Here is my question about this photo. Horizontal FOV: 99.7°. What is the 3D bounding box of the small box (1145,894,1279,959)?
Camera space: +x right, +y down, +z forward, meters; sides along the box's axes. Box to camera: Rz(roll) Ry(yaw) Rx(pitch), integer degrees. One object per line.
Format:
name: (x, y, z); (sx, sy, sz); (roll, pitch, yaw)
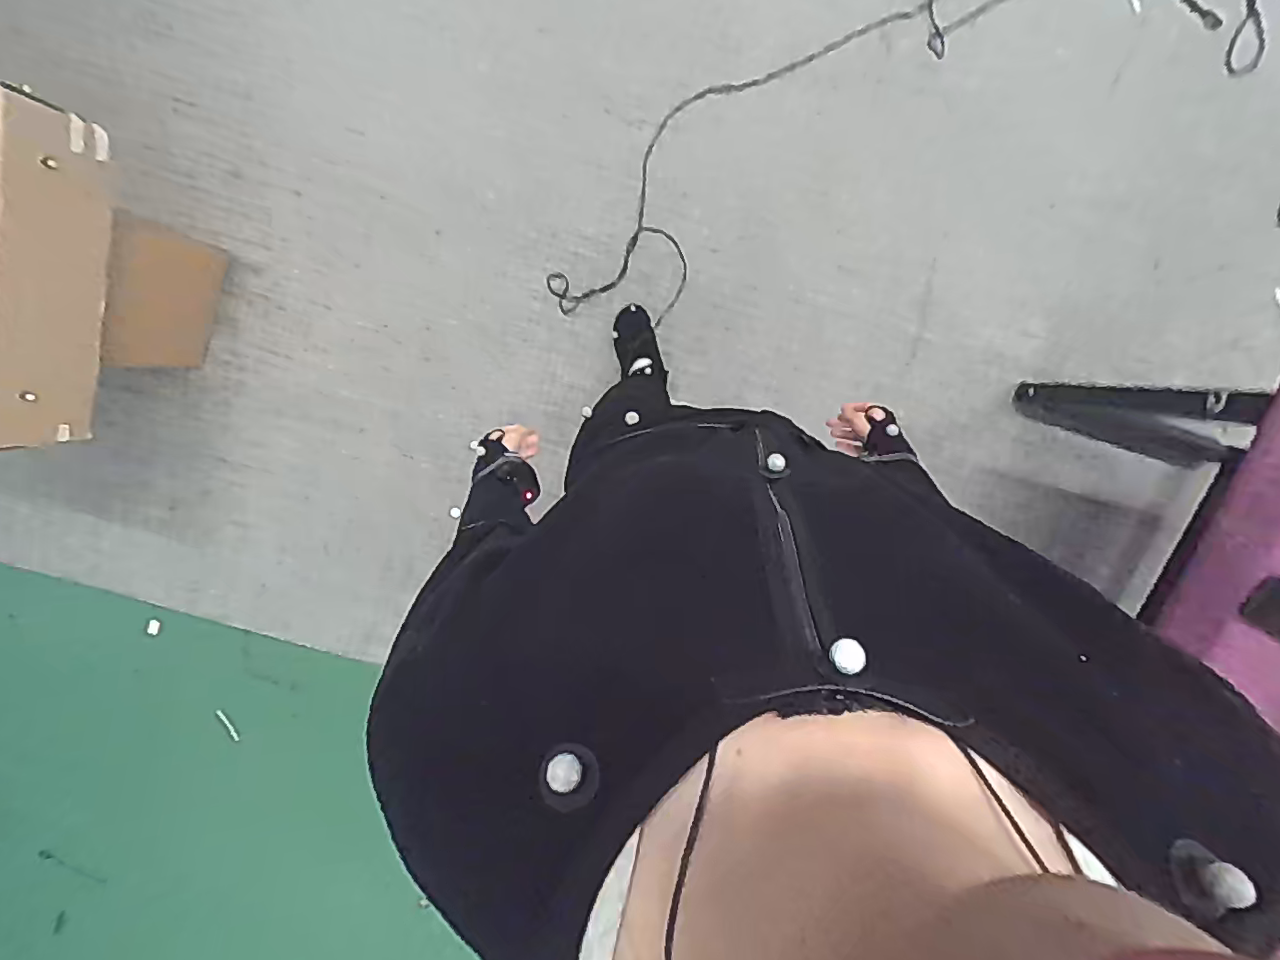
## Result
small box: (0.949, 0.781, 0.818); (0.179, 0.176, 0.168); (21, 101, -3)
